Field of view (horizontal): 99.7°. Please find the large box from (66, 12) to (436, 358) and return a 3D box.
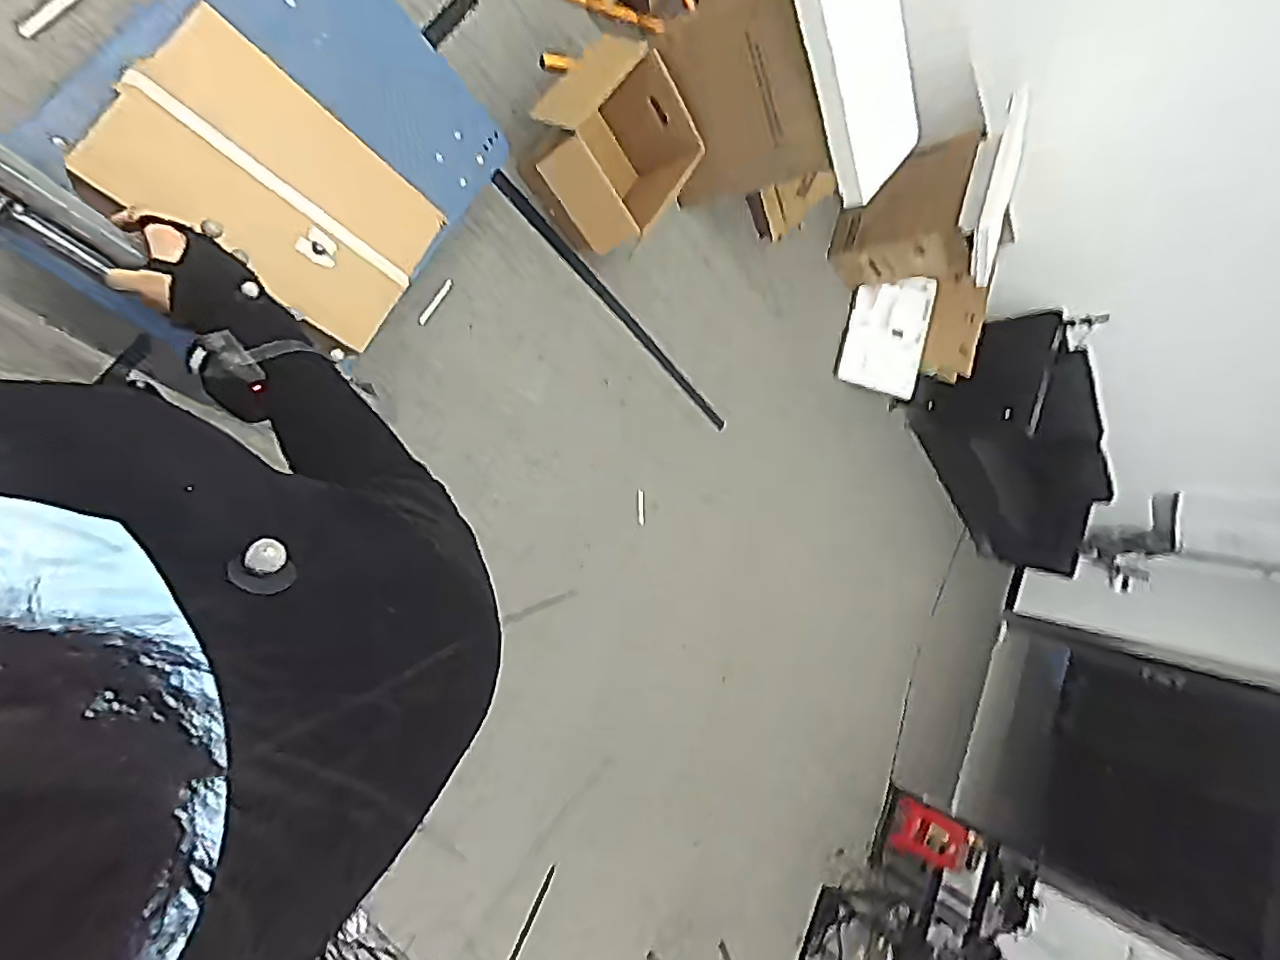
[{"bbox_3d":[-0.667,-0.465,0.964,0.408,0.320,0.320,37,72,-41],"label":"large box"}]
